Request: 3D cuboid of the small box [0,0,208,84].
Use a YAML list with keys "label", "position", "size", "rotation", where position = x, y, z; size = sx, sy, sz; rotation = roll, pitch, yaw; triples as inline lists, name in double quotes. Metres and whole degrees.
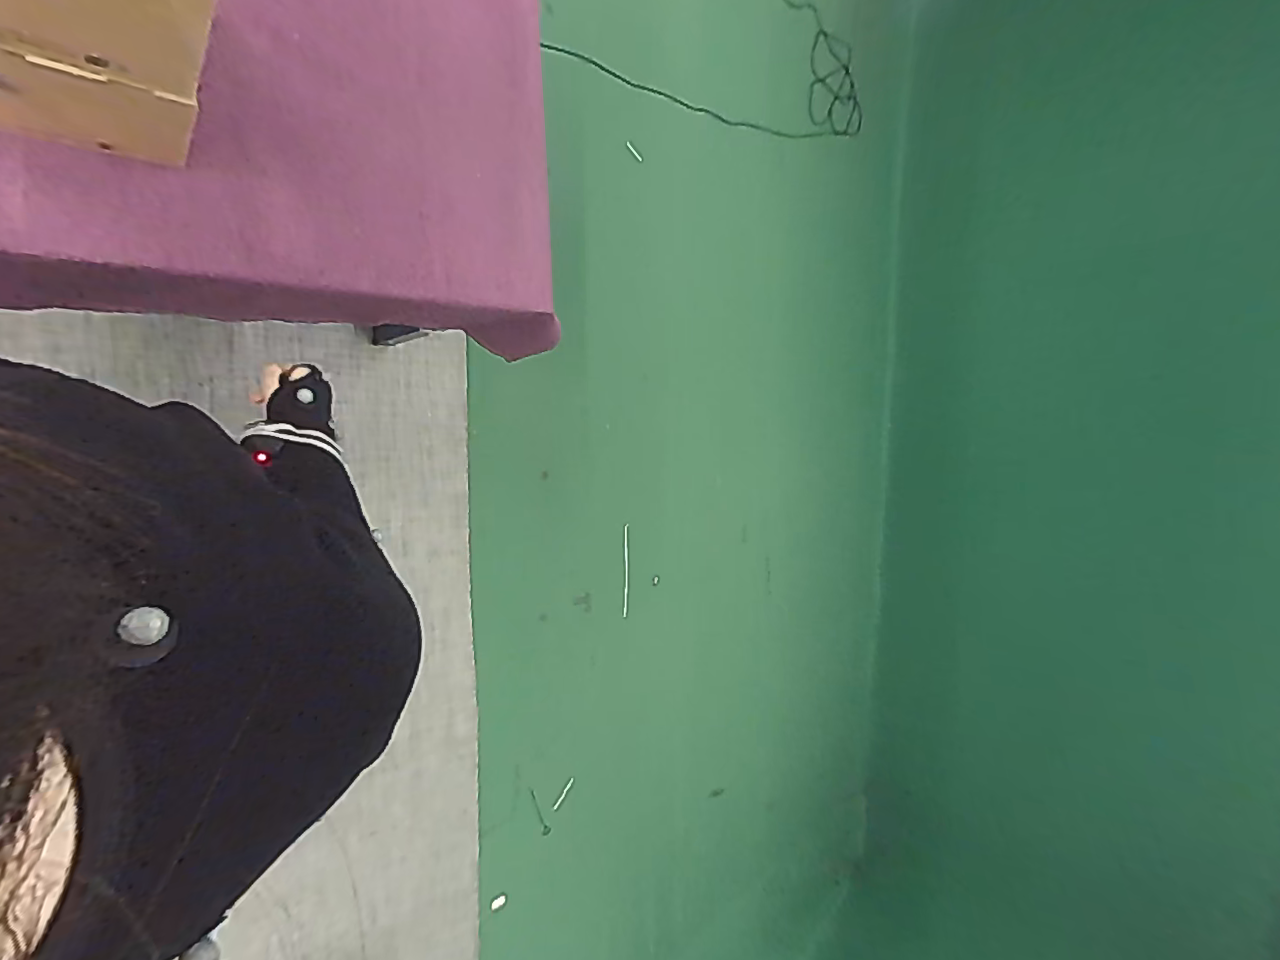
- label: "small box"
  position: [-0.400, -0.411, 0.356]
  size: [0.168, 0.176, 0.179]
  rotation: [-10, 100, -43]
